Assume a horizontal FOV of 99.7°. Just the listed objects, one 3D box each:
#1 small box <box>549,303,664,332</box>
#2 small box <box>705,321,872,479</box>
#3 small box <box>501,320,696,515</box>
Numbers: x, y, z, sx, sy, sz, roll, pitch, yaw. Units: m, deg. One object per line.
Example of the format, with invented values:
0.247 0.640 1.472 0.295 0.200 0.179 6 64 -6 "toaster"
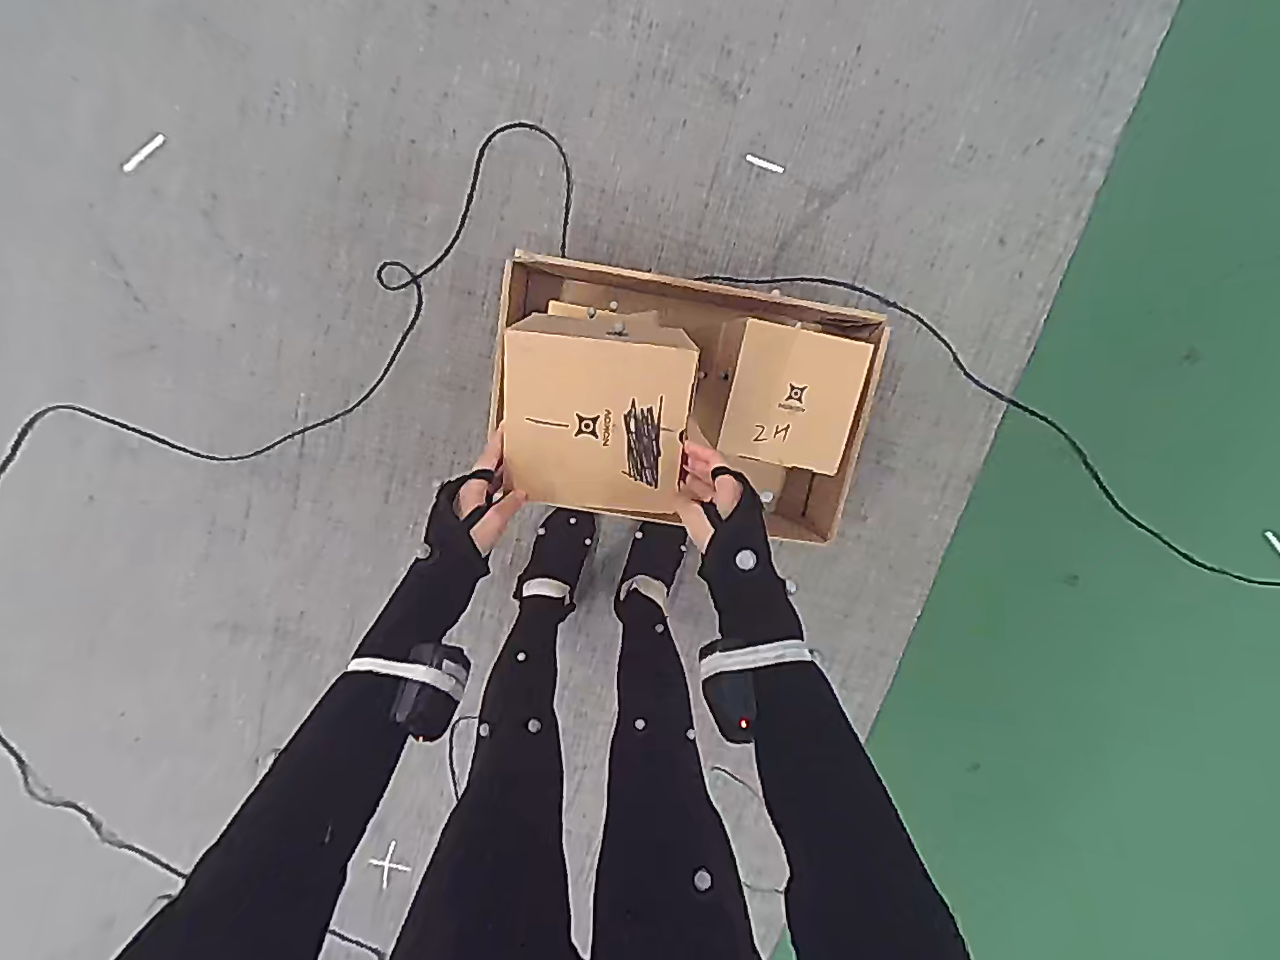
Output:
-0.065 -0.195 0.915 0.179 0.176 0.168 10 105 -4 "small box"
0.194 -0.118 0.767 0.168 0.176 0.179 12 104 -3 "small box"
-0.045 -0.076 0.587 0.179 0.176 0.168 5 111 -3 "small box"
